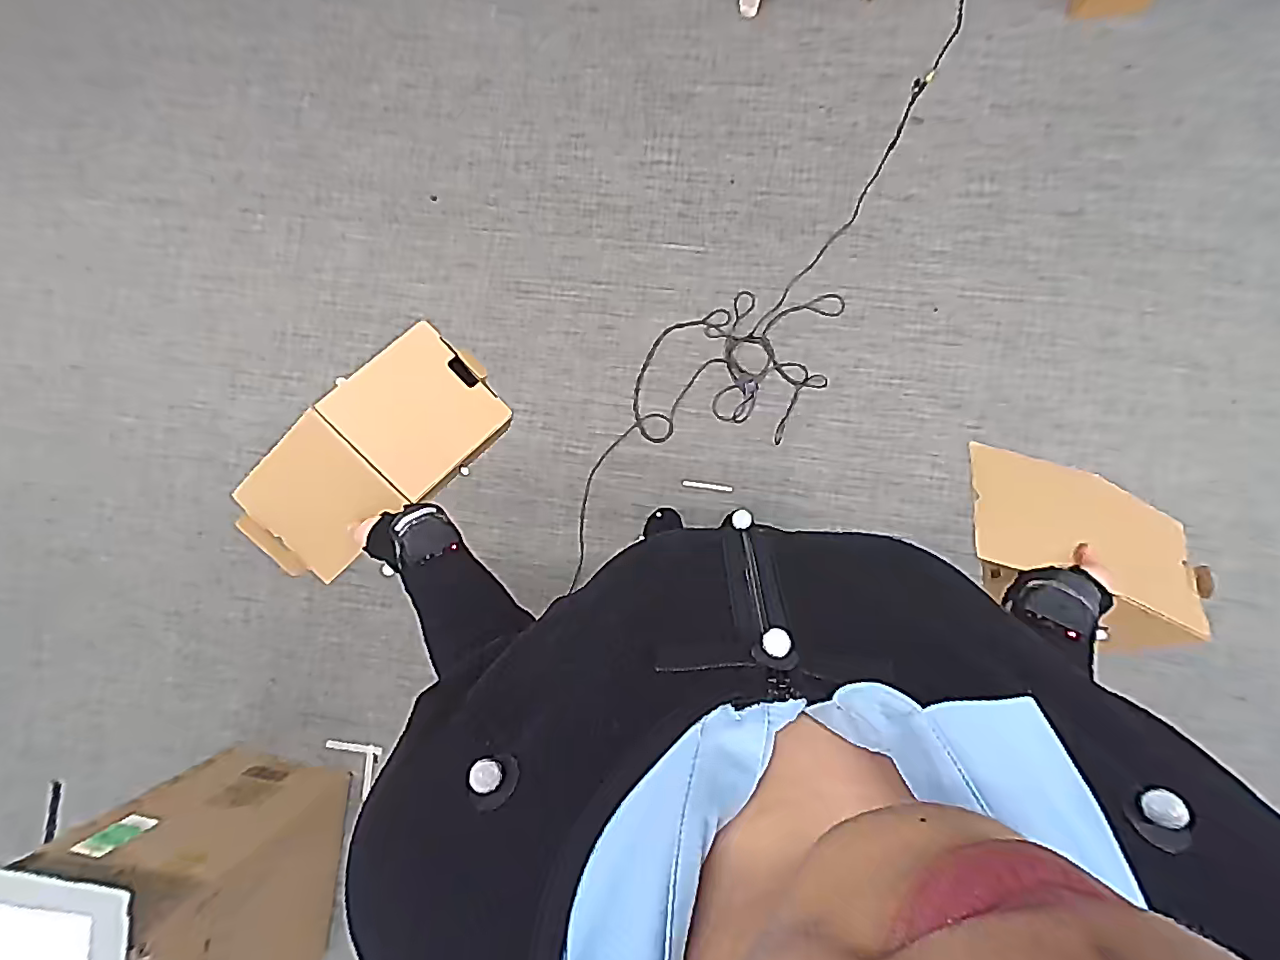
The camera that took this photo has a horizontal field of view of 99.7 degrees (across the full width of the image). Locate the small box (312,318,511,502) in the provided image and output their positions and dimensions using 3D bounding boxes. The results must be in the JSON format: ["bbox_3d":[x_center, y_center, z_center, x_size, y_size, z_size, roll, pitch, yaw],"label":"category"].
[{"bbox_3d":[-0.299,-0.084,0.747,0.179,0.176,0.168,-45,100,-13],"label":"small box"}]
